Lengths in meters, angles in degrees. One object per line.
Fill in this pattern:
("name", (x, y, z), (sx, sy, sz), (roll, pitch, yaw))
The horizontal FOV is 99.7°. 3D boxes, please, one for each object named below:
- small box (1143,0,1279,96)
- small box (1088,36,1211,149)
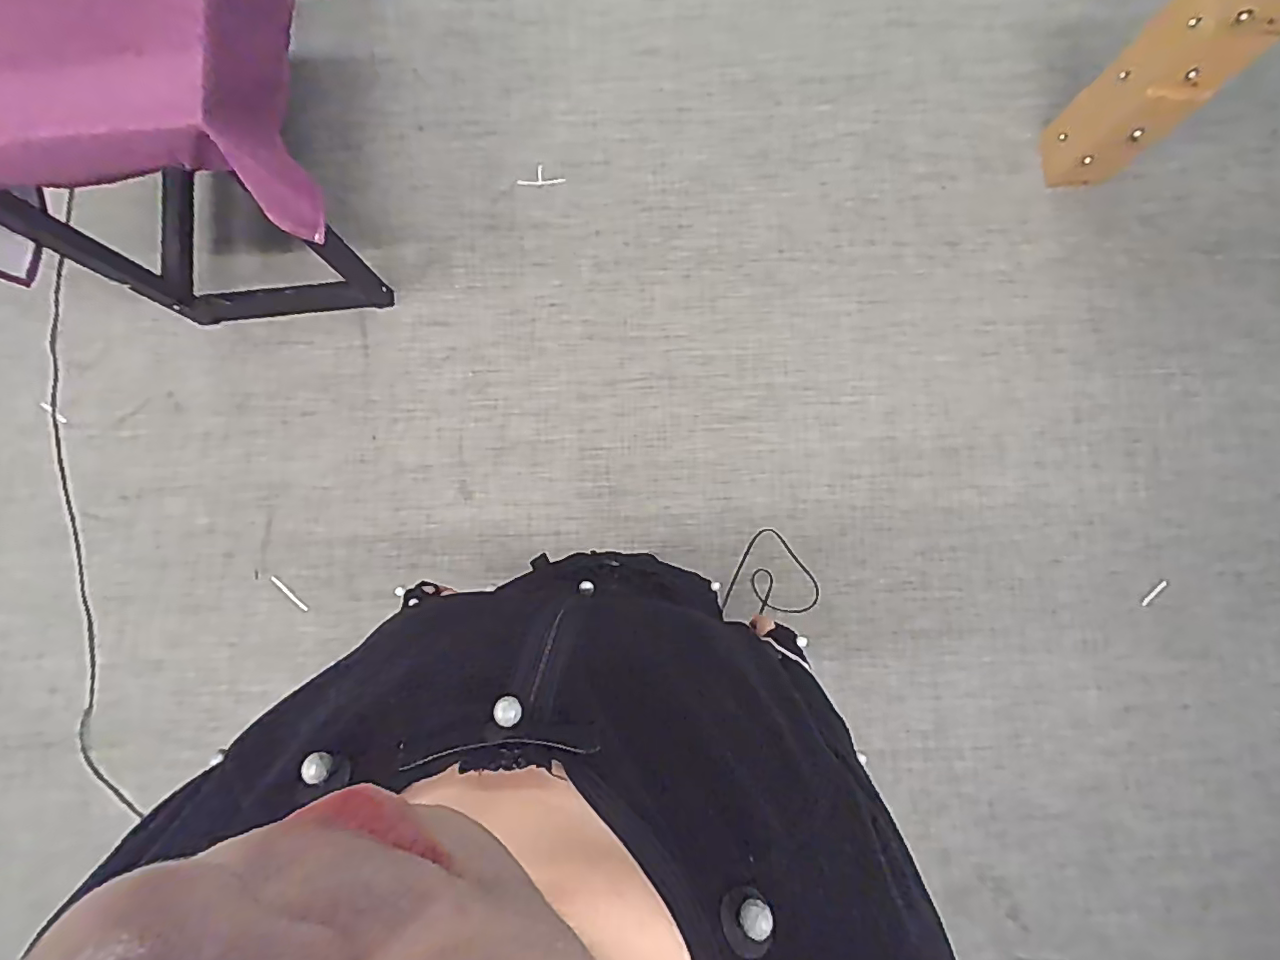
("small box", (1.325, -1.044, 1.259), (0.168, 0.176, 0.179), (4, 83, 1))
("small box", (1.325, -1.011, 1.419), (0.168, 0.176, 0.179), (1, 83, 1))
